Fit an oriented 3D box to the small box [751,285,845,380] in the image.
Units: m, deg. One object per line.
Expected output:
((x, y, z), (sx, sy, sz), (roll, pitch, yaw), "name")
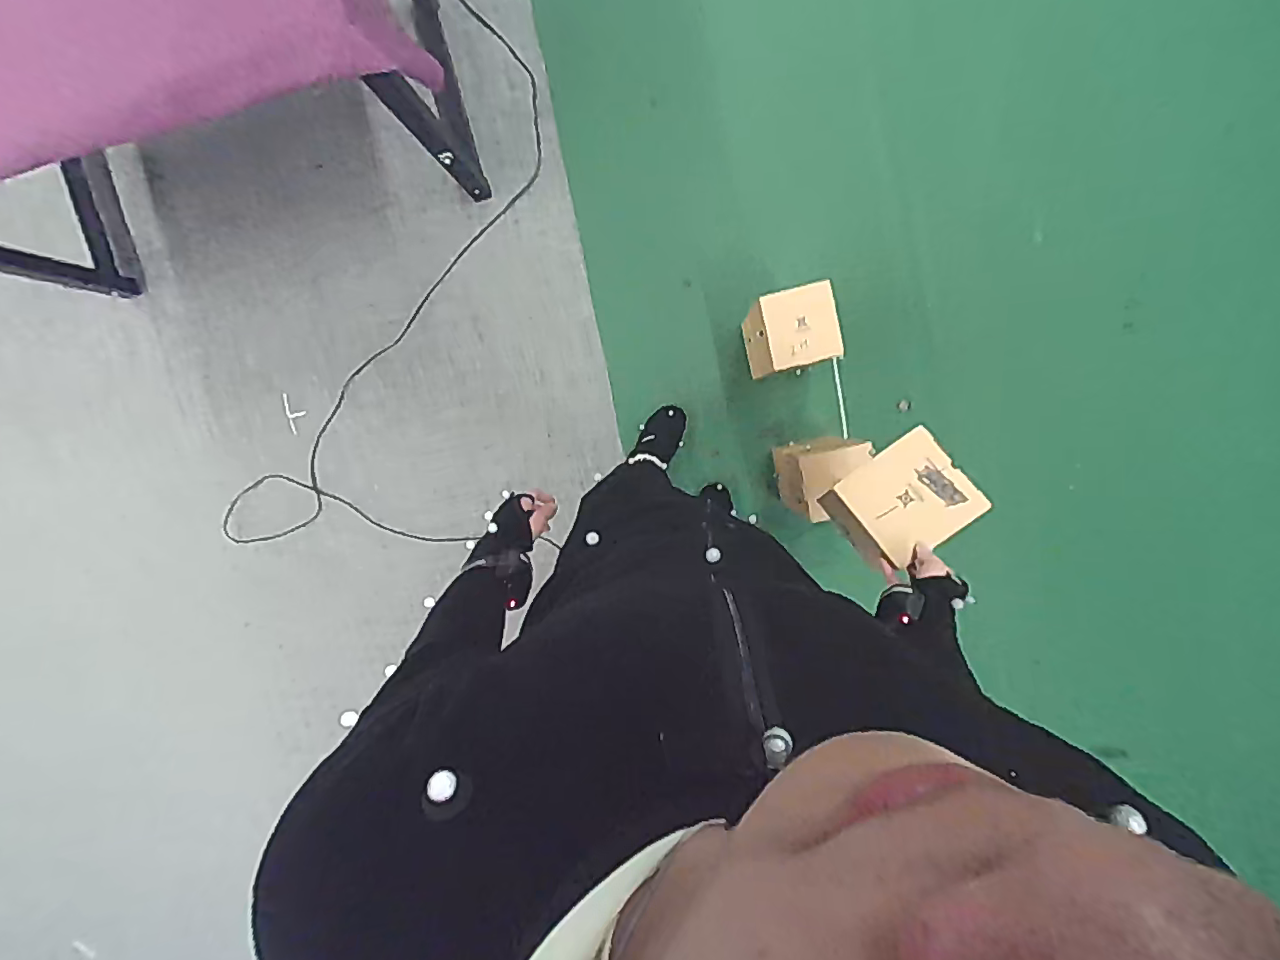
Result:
((0.377, -0.352, 1.317), (0.168, 0.176, 0.179), (-13, 95, 4), "small box")

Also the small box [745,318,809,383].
((0.391, -0.367, 1.481), (0.179, 0.176, 0.168), (-13, 95, 4), "small box")

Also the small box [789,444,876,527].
((0.481, 0.010, 1.350), (0.179, 0.176, 0.168), (-12, 96, 5), "small box")

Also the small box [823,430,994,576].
((0.437, 0.045, 0.916), (0.179, 0.176, 0.168), (-37, 76, 3), "small box")
